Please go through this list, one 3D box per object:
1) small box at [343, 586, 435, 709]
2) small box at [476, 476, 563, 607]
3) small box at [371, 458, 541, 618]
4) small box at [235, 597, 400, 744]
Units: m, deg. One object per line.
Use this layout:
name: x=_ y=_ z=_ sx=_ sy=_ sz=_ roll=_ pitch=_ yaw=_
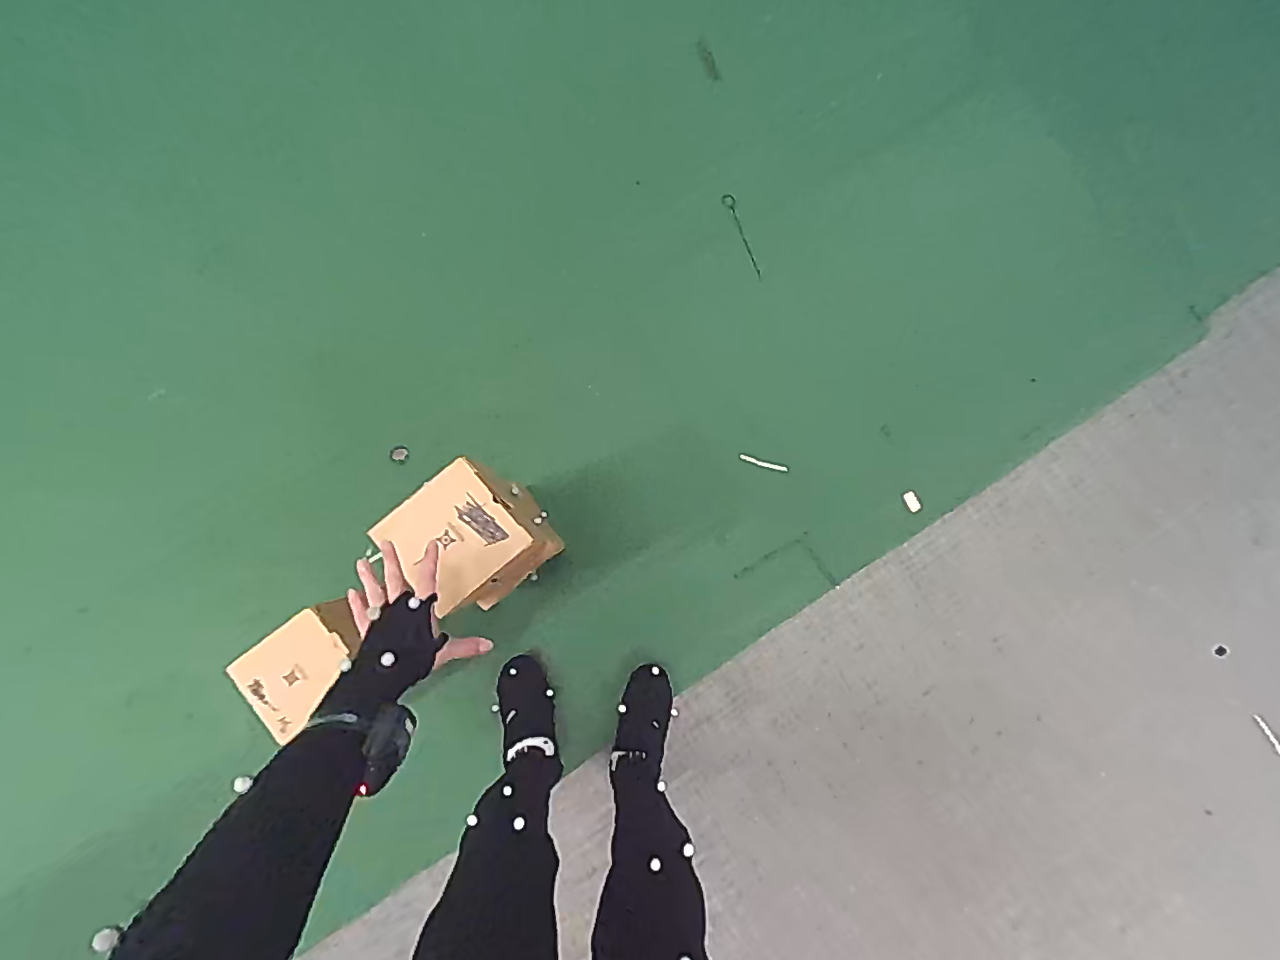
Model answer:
small box: x=-0.574 y=0.347 z=1.160 sx=0.168 sy=0.176 sz=0.179 roll=-35 pitch=87 yaw=-3
small box: x=-0.266 y=0.112 z=1.021 sx=0.168 sy=0.176 sz=0.179 roll=-43 pitch=88 yaw=-4
small box: x=-0.274 y=0.087 z=0.857 sx=0.179 sy=0.176 sz=0.168 roll=-40 pitch=88 yaw=-4
small box: x=-0.574 y=0.336 z=0.997 sx=0.179 sy=0.176 sz=0.168 roll=-37 pitch=87 yaw=-4
